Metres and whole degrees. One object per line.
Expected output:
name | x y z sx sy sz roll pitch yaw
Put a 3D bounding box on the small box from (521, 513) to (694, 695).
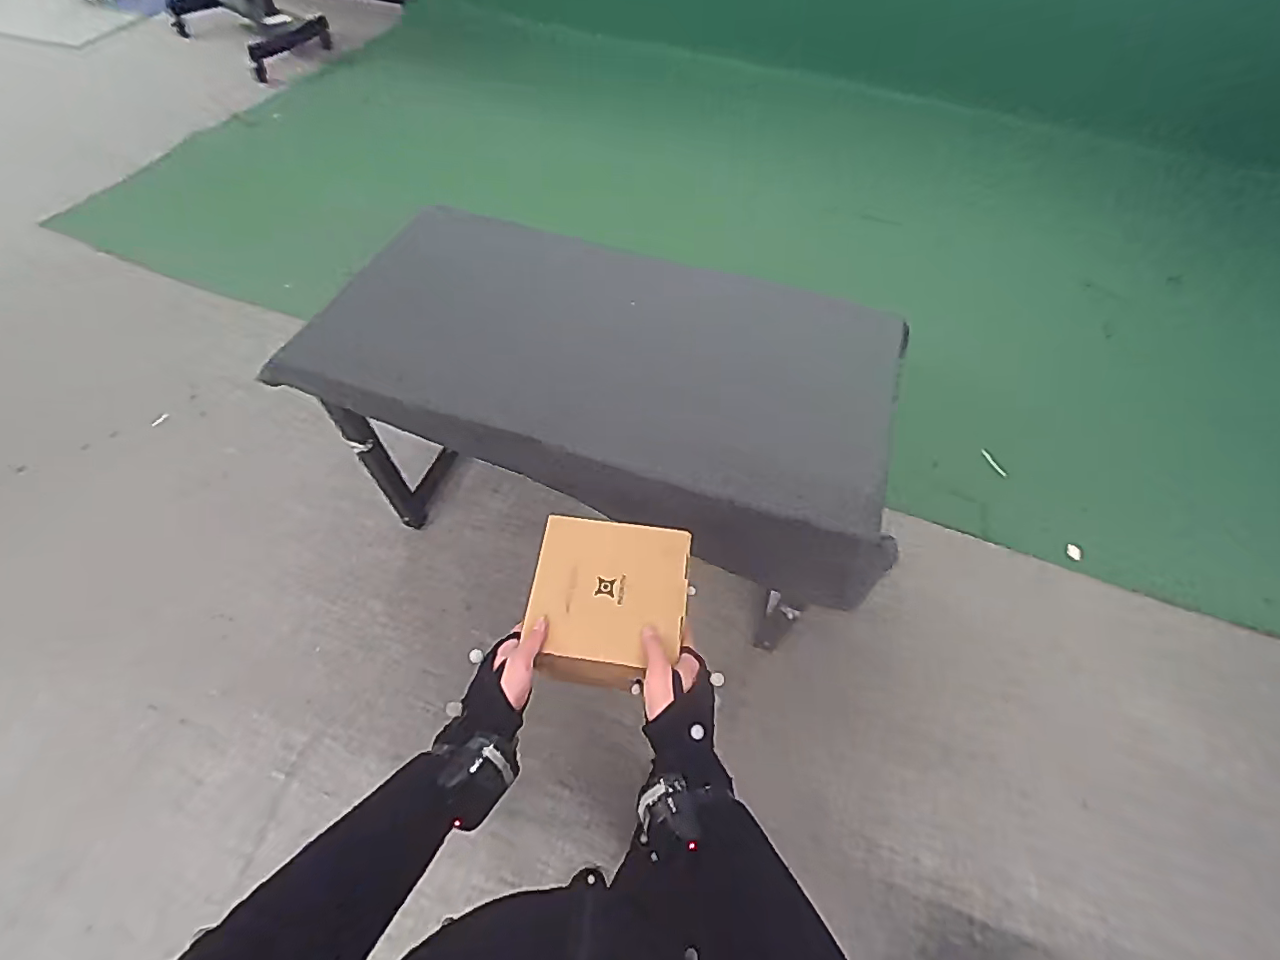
small box | -0.032 0.159 0.665 0.179 0.176 0.168 5 57 1
